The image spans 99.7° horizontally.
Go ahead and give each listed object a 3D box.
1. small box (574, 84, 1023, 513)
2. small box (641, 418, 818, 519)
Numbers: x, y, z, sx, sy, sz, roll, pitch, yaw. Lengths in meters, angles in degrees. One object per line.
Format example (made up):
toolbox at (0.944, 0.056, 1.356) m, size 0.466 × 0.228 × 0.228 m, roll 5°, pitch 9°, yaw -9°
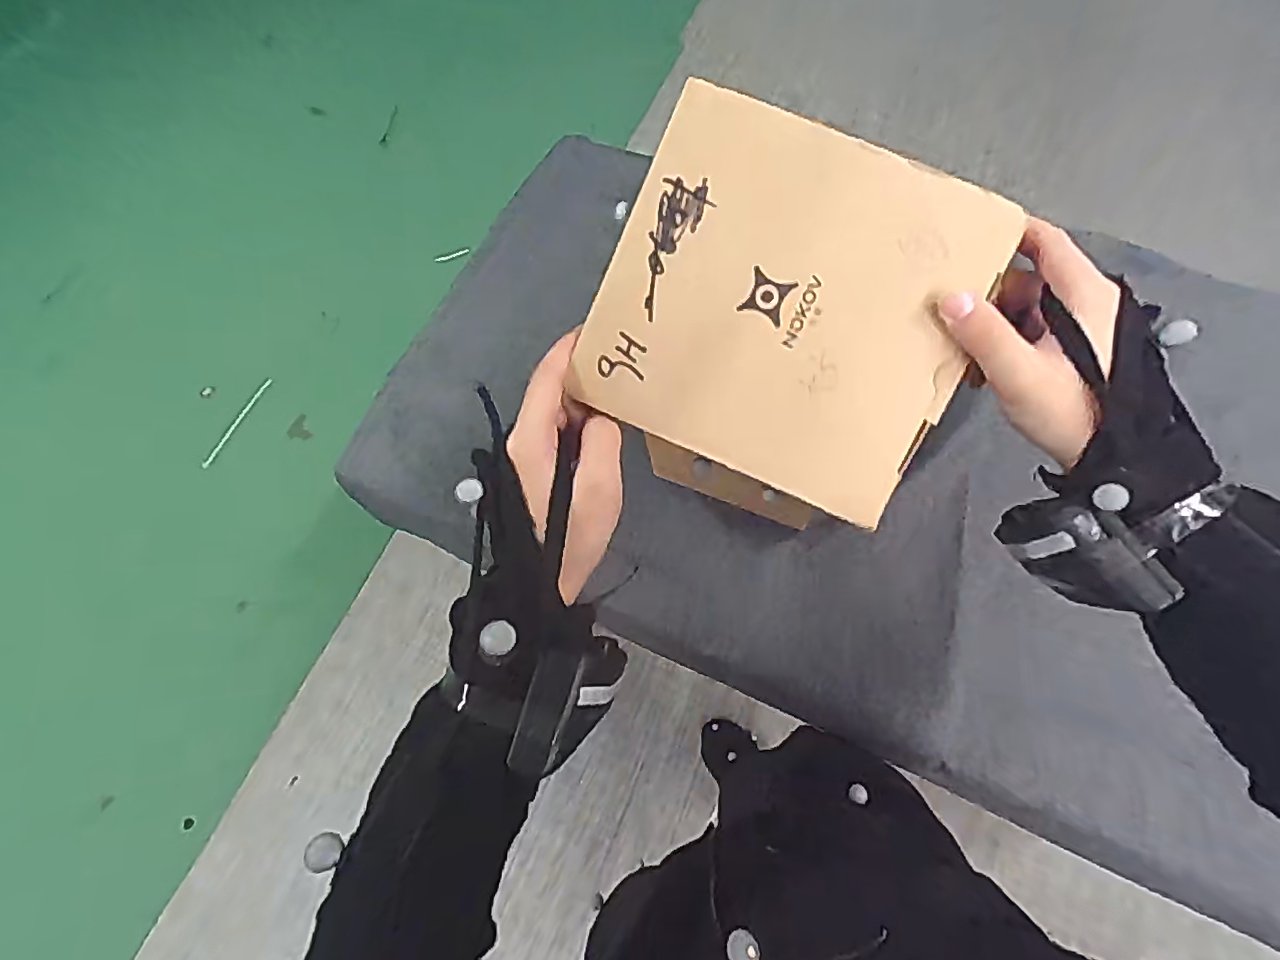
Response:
small box at (0.082, -0.096, 0.350) m, size 0.179 × 0.176 × 0.168 m, roll 23°, pitch 95°, yaw 4°
small box at (0.117, -0.076, 0.543) m, size 0.179 × 0.176 × 0.168 m, roll 20°, pitch 70°, yaw 15°
